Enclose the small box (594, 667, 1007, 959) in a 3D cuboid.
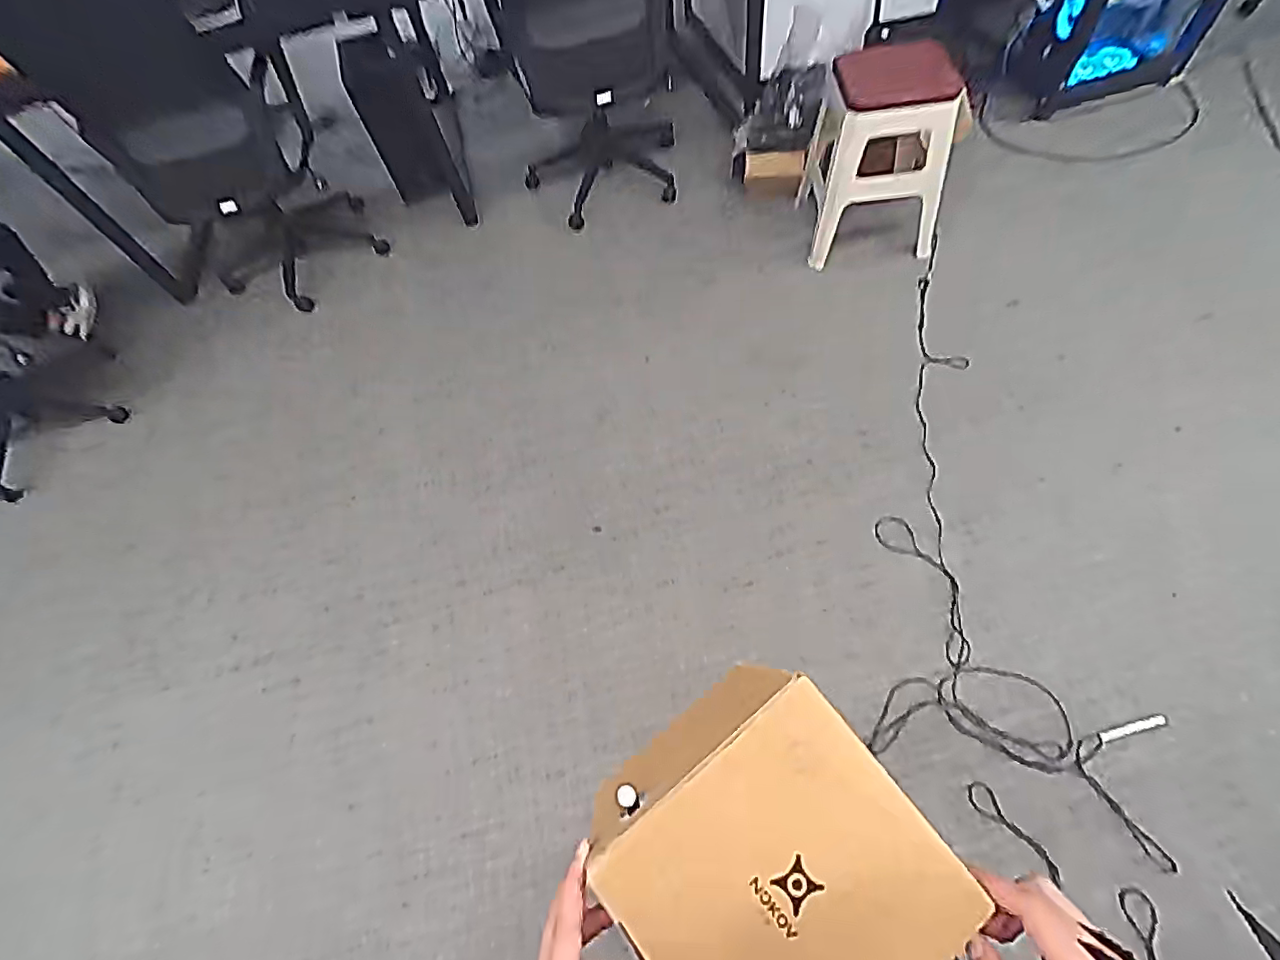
[{"bbox_3d":[0.085,0.249,0.373,0.179,0.176,0.168,-38,79,-11],"label":"small box"}]
